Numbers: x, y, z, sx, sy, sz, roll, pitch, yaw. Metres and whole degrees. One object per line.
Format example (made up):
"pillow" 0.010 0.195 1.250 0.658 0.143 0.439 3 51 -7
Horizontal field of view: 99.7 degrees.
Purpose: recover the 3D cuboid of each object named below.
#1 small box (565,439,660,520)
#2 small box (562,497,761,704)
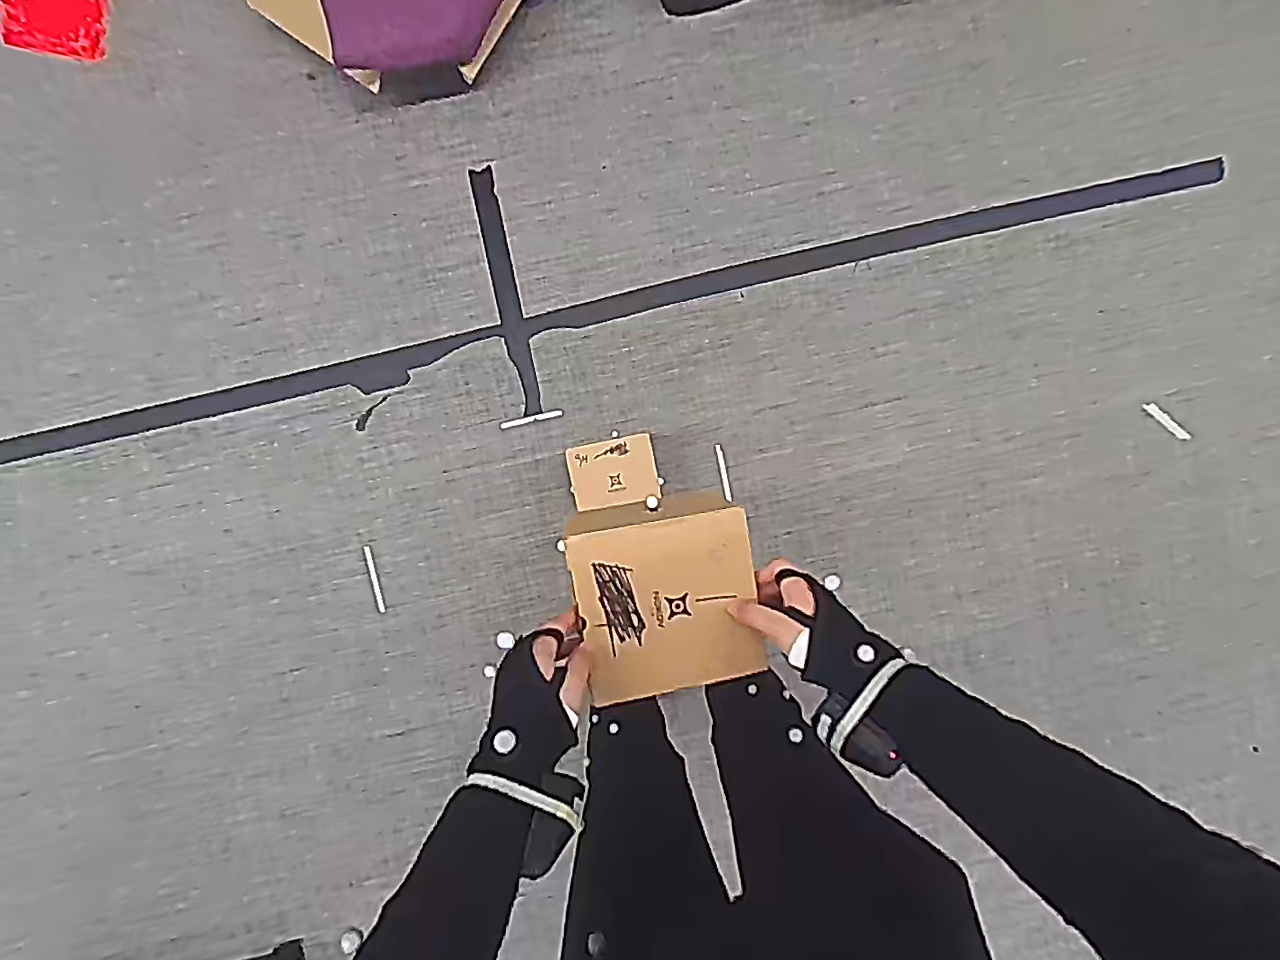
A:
"small box" -0.050 0.014 1.107 0.168 0.176 0.179 -11 95 -1
"small box" 0.015 0.117 0.596 0.179 0.176 0.168 -9 95 -6
